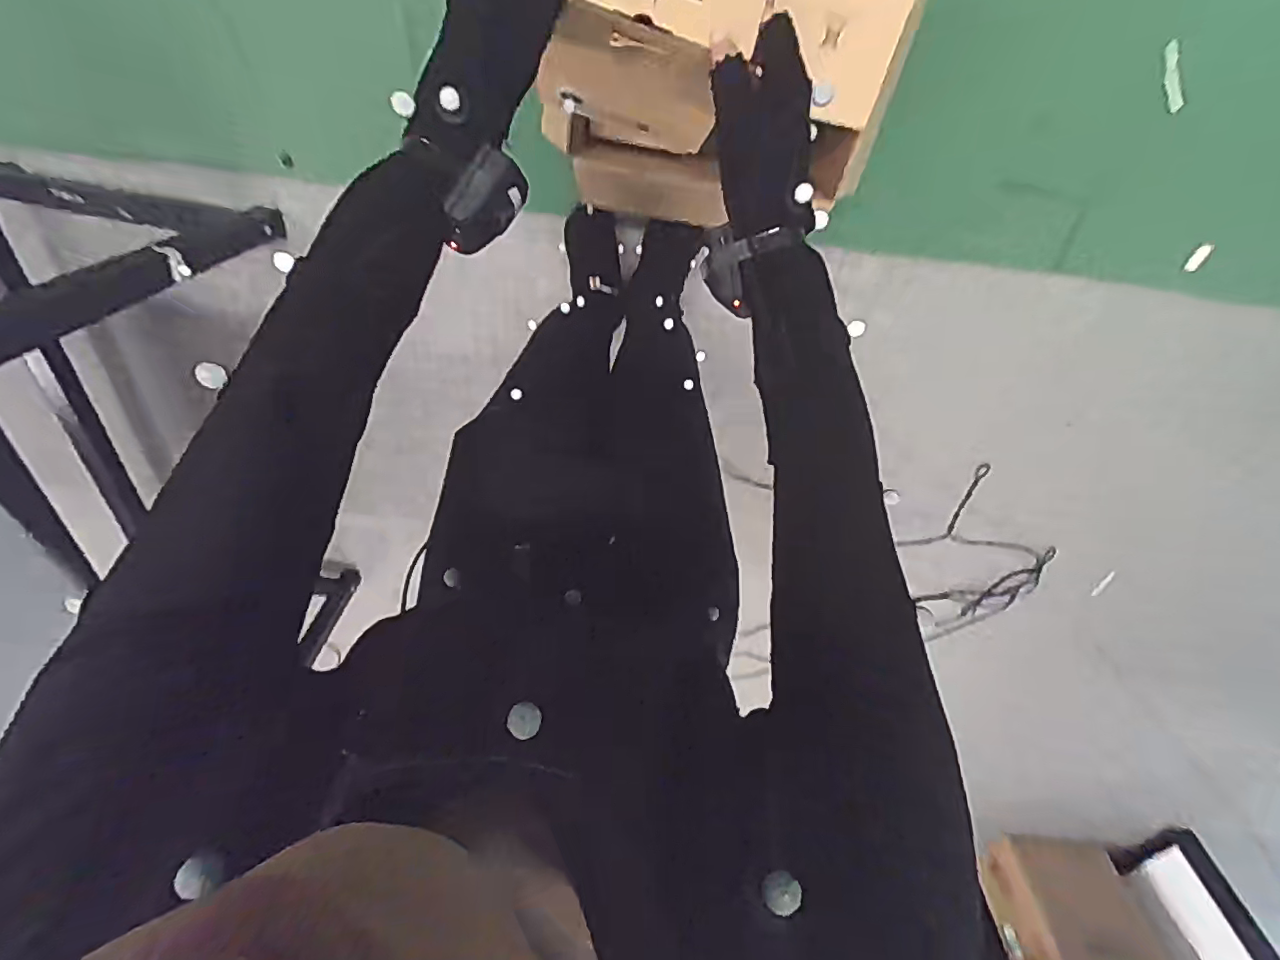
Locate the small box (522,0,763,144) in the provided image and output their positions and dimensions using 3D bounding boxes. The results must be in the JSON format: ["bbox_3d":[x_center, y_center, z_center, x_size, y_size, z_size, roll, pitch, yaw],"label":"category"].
[{"bbox_3d":[0.010,-0.409,0.432,0.168,0.176,0.179,13,99,-11],"label":"small box"}]
